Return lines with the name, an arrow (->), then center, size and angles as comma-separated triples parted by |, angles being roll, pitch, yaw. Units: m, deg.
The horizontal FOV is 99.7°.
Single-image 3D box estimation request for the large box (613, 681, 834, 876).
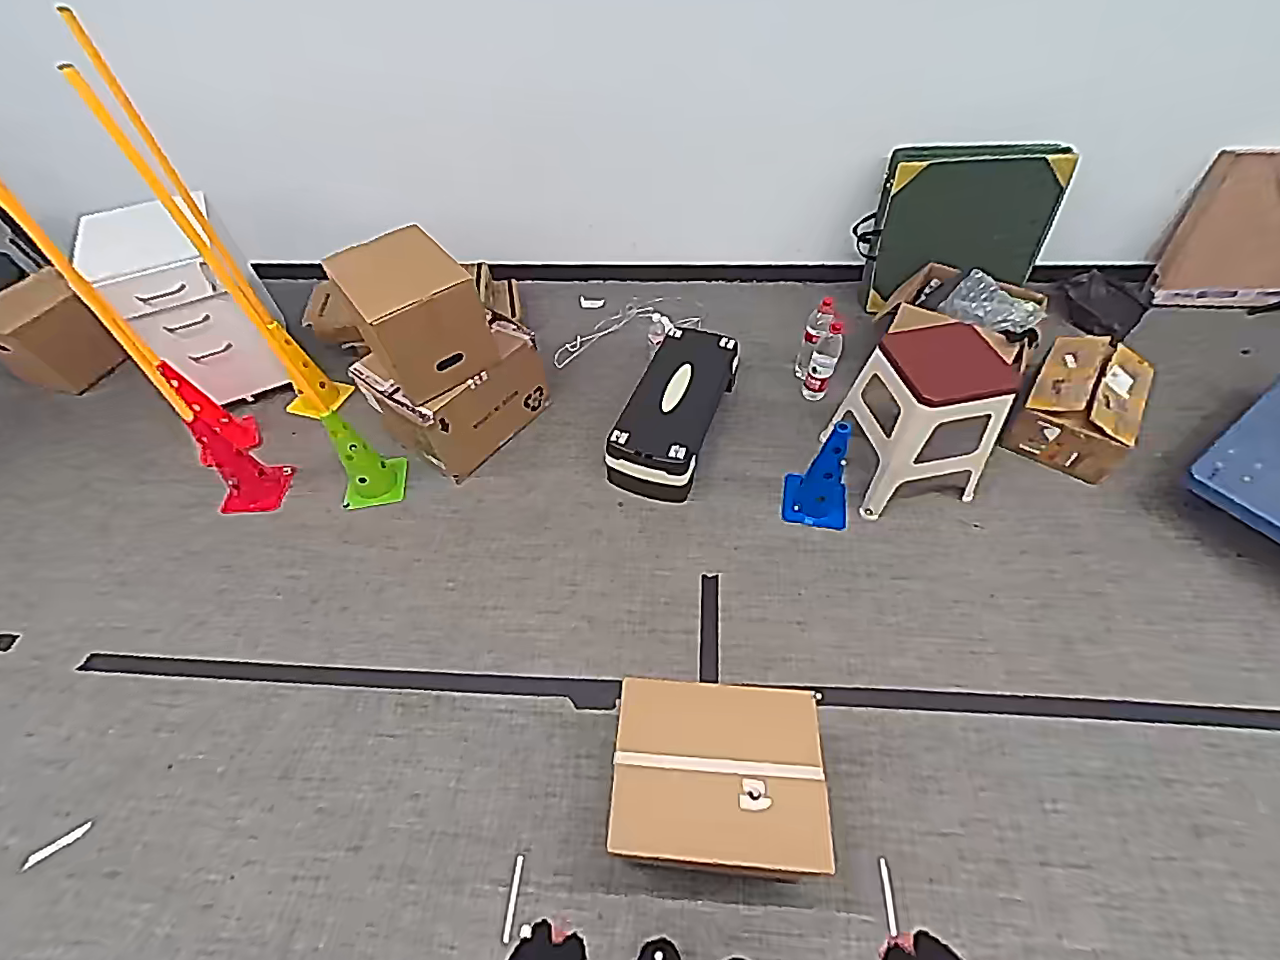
large box -> 0.157, 0.650, 1.171 | 0.408, 0.320, 0.320 | 3, 53, 3
